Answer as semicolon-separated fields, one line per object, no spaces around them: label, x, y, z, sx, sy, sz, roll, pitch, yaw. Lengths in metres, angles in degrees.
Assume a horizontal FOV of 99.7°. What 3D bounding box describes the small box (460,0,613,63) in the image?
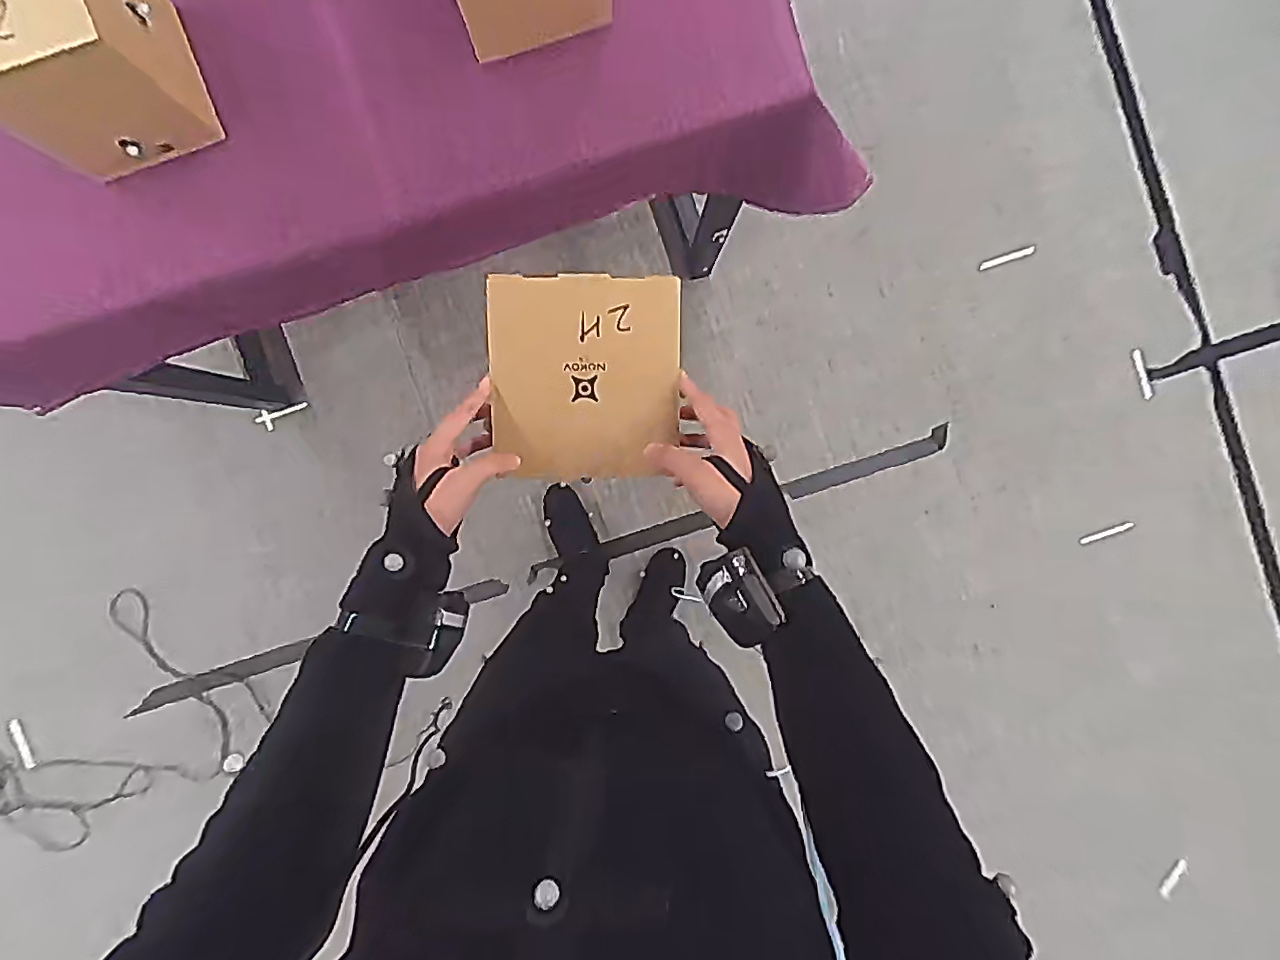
small box;-0.136;-0.612;0.594;0.179;0.176;0.168;-19;92;-2

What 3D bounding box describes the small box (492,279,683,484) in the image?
small box;-0.048;-0.094;0.549;0.168;0.176;0.179;0;97;-2
